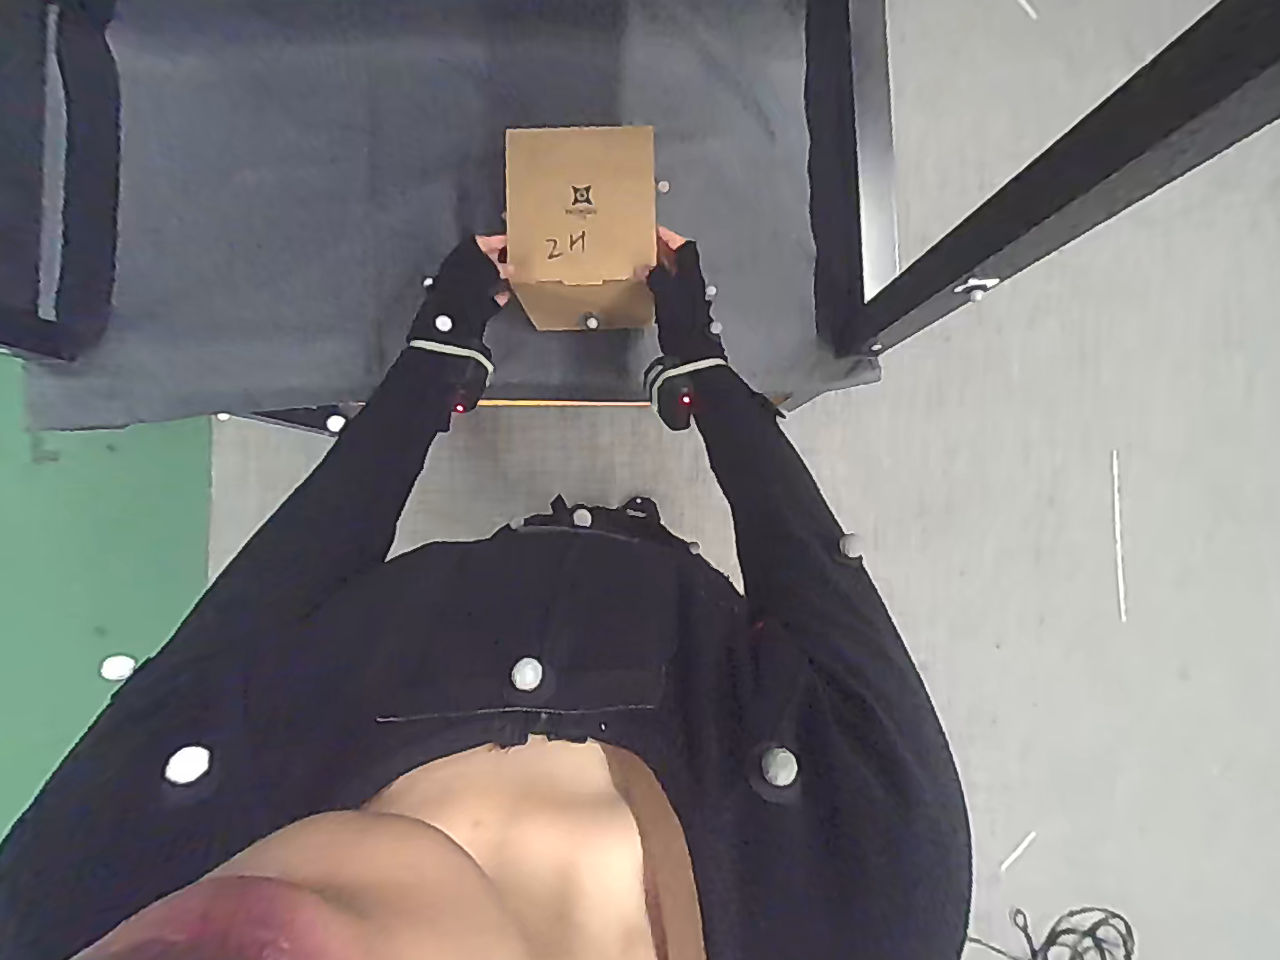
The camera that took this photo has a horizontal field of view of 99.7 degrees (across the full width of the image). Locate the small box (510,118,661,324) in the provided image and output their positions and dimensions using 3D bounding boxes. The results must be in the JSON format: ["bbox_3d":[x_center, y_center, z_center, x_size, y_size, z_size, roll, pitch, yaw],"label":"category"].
[{"bbox_3d":[-0.060,-0.307,0.669,0.168,0.176,0.179,-1,88,1],"label":"small box"}]
